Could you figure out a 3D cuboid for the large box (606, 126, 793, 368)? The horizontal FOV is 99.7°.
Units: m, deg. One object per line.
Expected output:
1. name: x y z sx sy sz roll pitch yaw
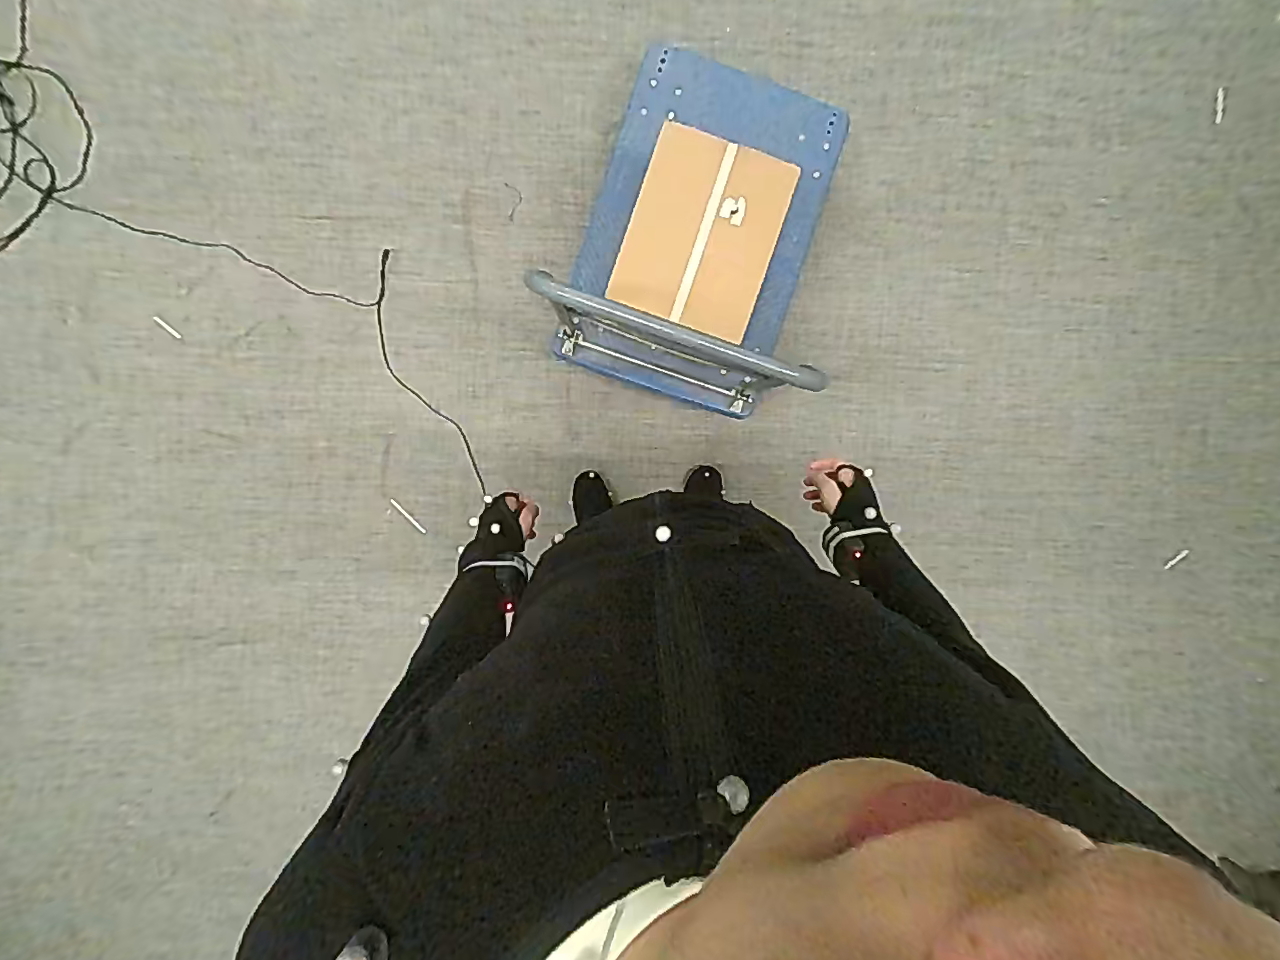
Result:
1. large box: 0.125 -0.531 1.316 0.320 0.320 0.408 19 90 -3
